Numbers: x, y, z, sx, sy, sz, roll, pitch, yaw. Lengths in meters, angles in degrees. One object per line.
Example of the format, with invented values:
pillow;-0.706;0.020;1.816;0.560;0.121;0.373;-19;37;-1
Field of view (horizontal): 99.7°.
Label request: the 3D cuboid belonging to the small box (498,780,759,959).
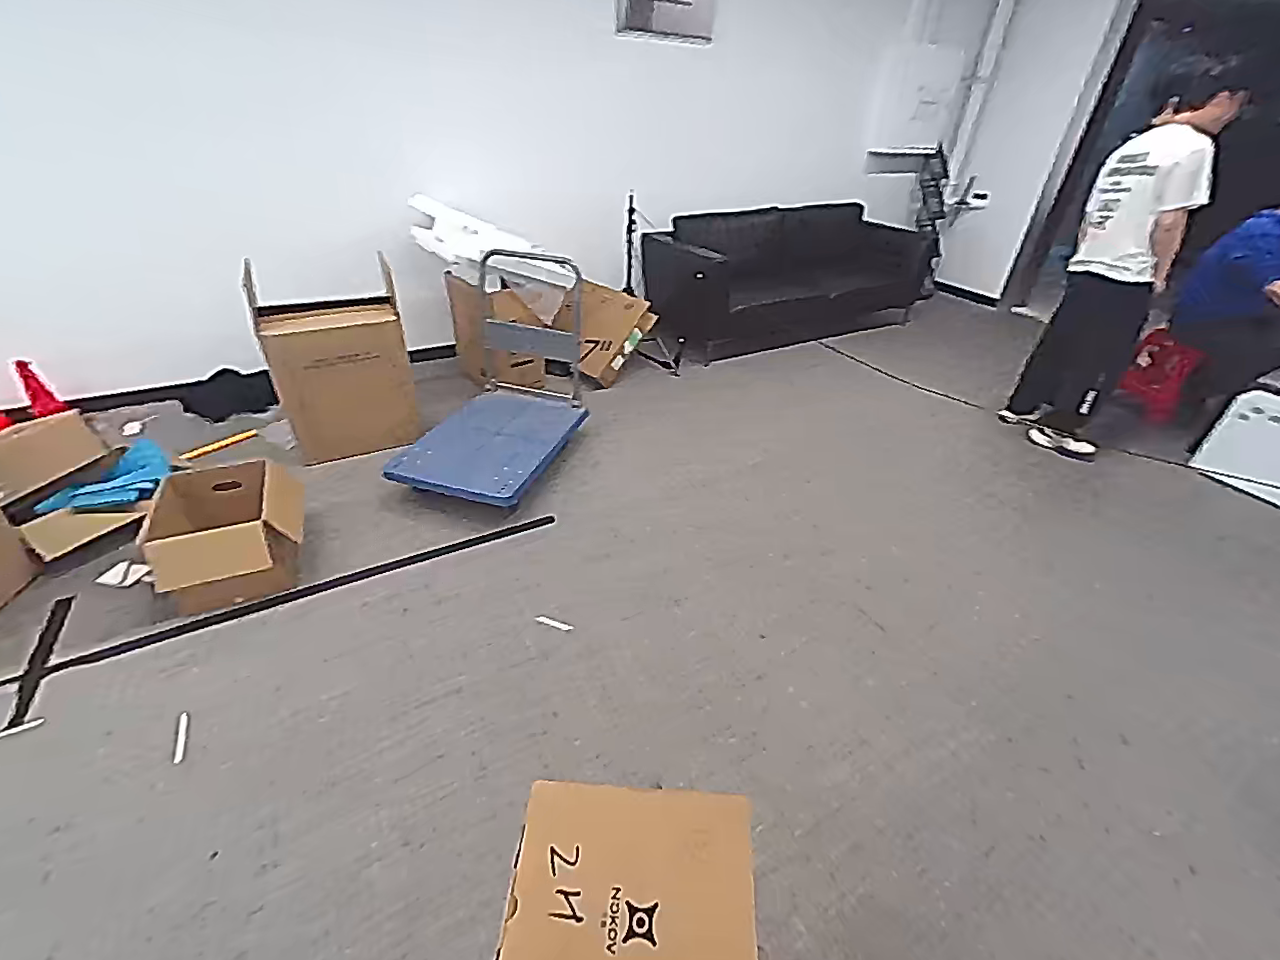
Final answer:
small box;-0.002;0.360;0.428;0.179;0.176;0.168;1;44;6
